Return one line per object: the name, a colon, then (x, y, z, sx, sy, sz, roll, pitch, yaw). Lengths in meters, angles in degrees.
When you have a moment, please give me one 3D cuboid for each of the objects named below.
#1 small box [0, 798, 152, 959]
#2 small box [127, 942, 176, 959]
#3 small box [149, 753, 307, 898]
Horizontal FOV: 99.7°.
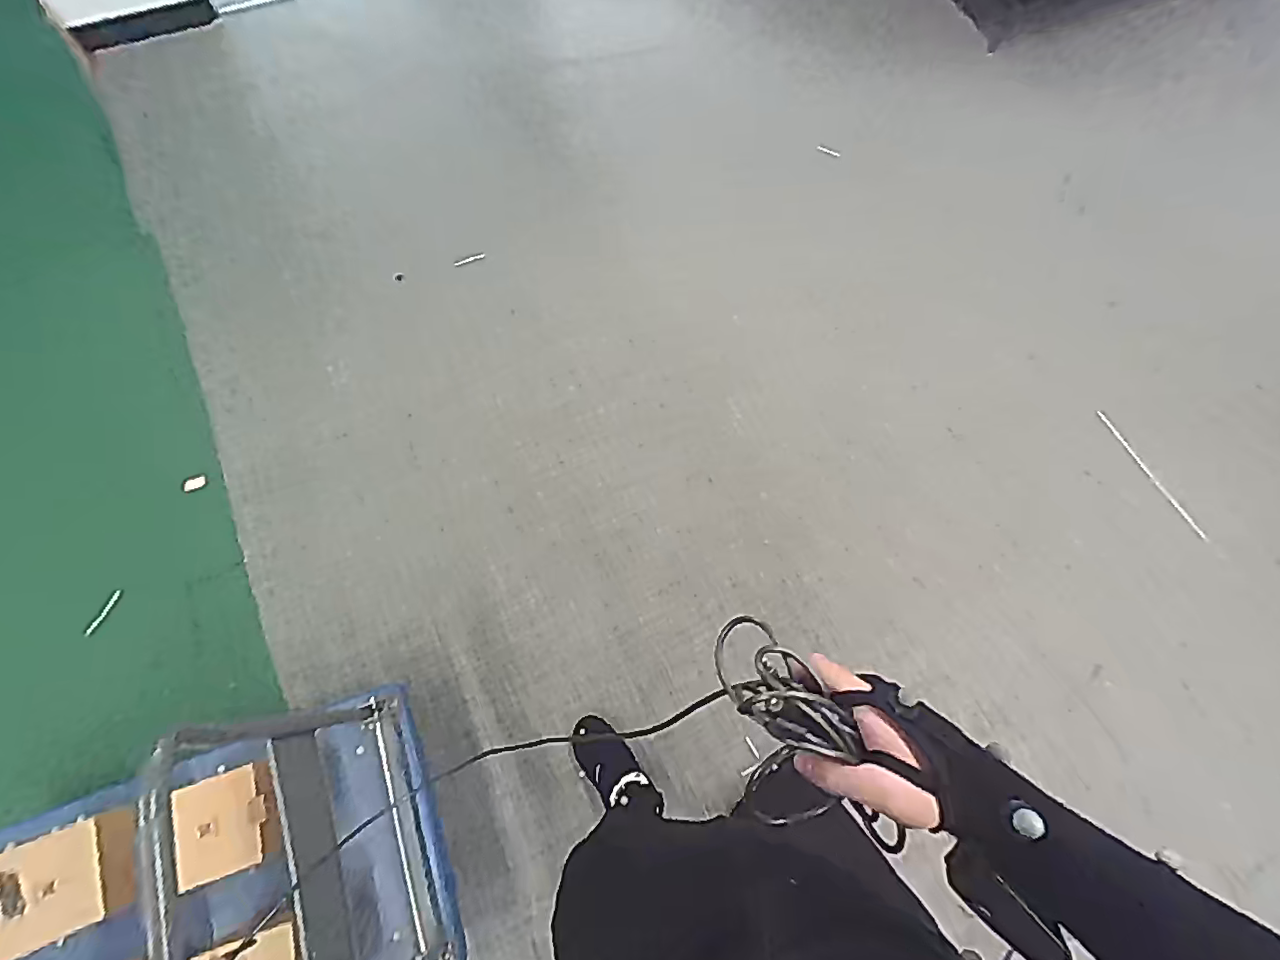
small box: (-1.016, 0.711, 0.981, 0.179, 0.176, 0.168, -20, 74, -12)
small box: (-0.921, 0.939, 0.909, 0.179, 0.176, 0.168, -22, 73, -11)
small box: (-0.773, 0.640, 1.026, 0.179, 0.176, 0.168, -17, 73, -11)
